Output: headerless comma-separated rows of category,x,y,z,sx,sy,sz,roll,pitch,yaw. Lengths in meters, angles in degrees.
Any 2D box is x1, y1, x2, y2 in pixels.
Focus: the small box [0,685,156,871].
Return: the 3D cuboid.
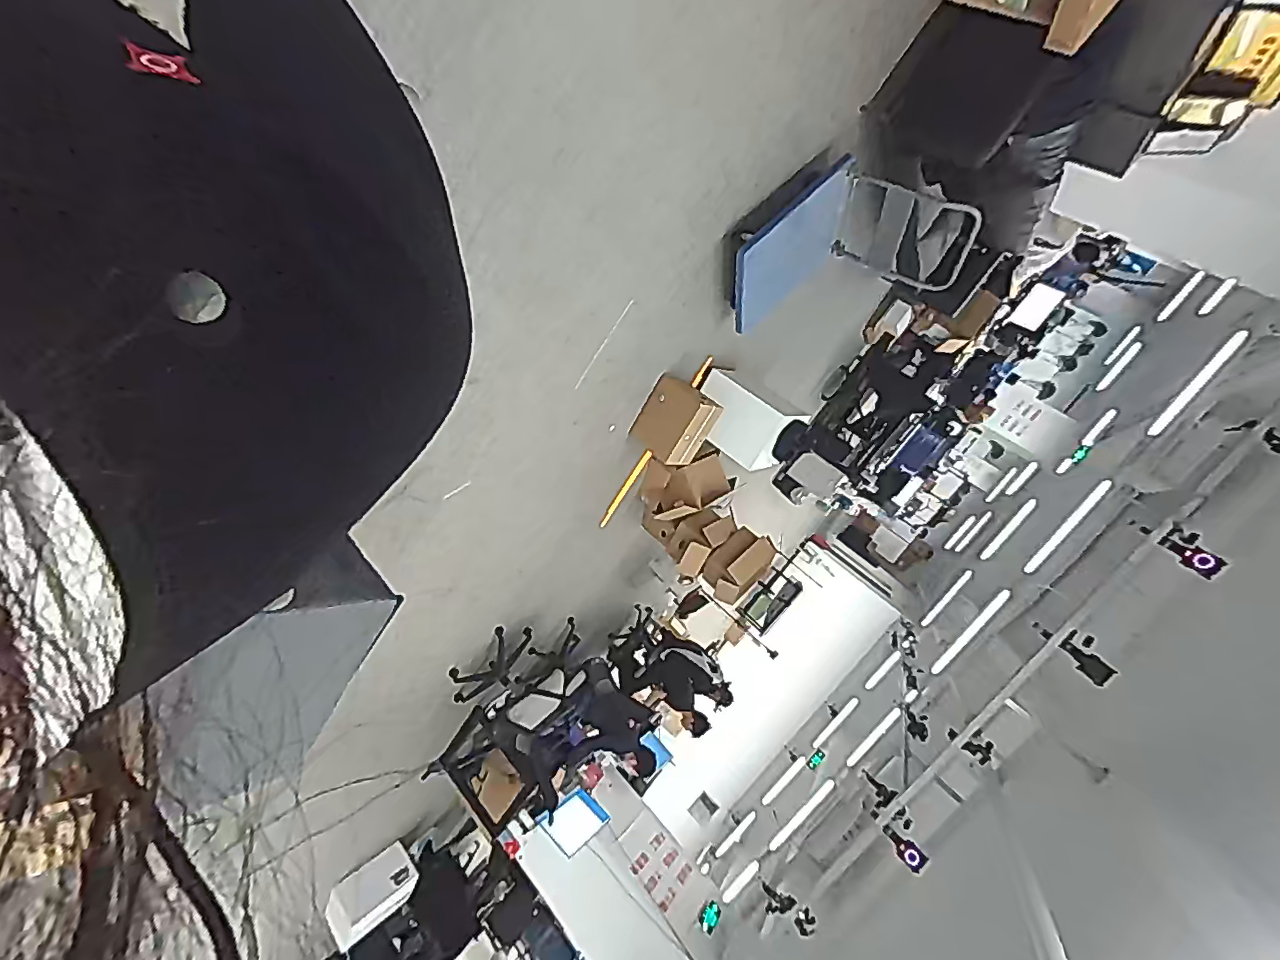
small box,-0.881,0.432,0.806,0.179,0.176,0.168,-53,156,12
